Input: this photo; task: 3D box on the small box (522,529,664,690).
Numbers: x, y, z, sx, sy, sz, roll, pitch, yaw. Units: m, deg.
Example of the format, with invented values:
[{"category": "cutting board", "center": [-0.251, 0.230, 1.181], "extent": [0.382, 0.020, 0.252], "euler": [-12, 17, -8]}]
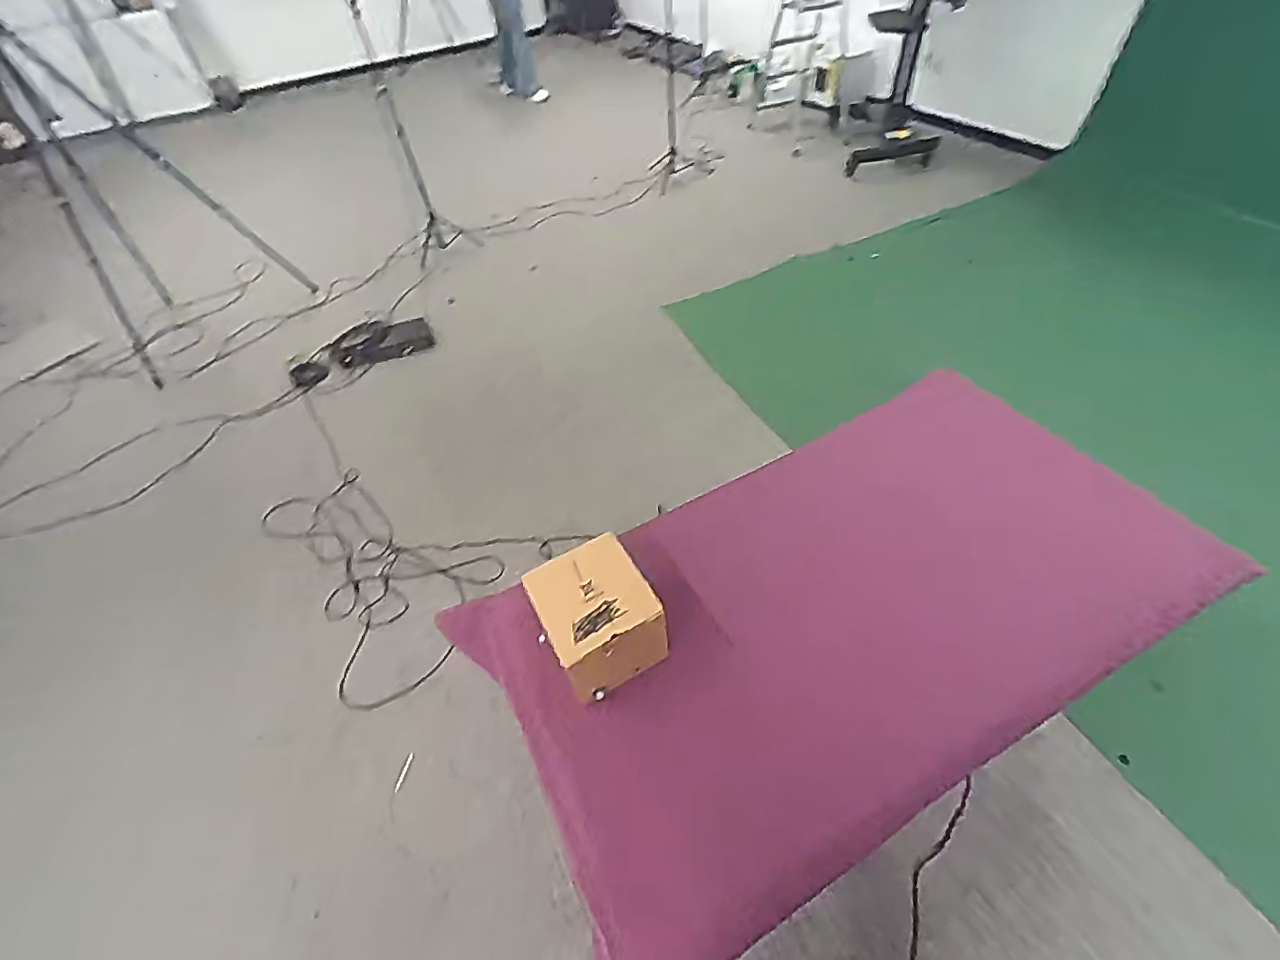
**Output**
[{"category": "small box", "center": [-0.071, 0.220, 0.890], "extent": [0.168, 0.176, 0.179], "euler": [-25, 51, -16]}]
